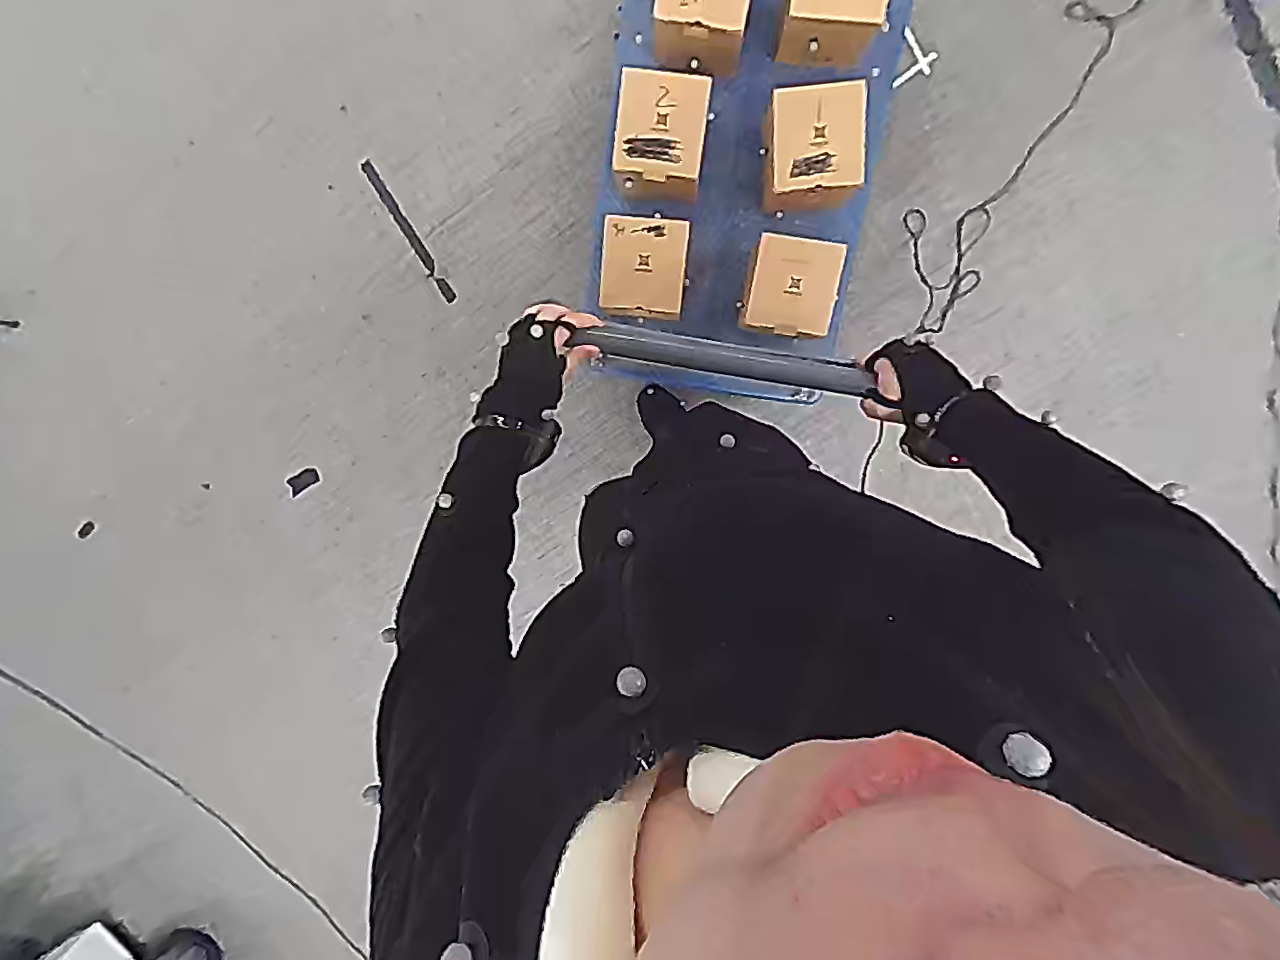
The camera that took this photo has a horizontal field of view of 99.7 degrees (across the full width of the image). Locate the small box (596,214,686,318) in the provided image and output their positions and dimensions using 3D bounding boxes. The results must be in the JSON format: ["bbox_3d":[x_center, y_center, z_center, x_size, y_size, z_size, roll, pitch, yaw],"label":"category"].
[{"bbox_3d":[0.006,-0.442,1.142,0.168,0.176,0.179,6,103,2],"label":"small box"}]

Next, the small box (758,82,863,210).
[{"bbox_3d":[0.329,-0.648,1.074,0.168,0.176,0.179,-1,103,5],"label":"small box"}]

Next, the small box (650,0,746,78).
[{"bbox_3d":[0.117,-0.915,1.028,0.168,0.176,0.179,11,104,1],"label":"small box"}]

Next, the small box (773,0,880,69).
[{"bbox_3d":[0.352,-0.913,1.016,0.168,0.176,0.179,7,103,2],"label":"small box"}]

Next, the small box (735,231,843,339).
[{"bbox_3d":[0.301,-0.398,1.133,0.168,0.176,0.179,10,102,1],"label":"small box"}]
